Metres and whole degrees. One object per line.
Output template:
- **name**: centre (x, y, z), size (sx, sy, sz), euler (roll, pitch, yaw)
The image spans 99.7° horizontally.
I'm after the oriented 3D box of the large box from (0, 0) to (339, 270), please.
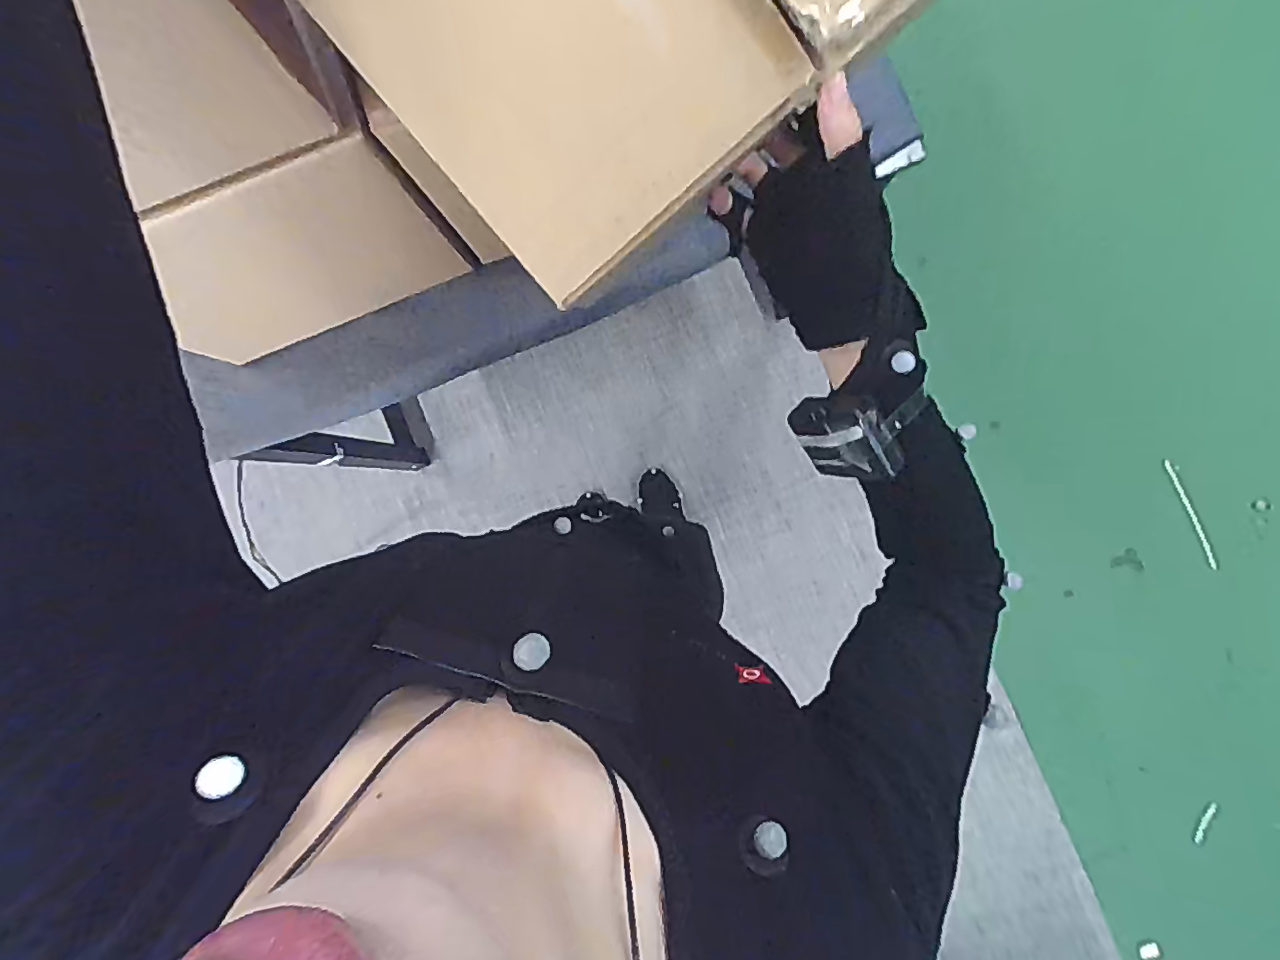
- **large box**: centre (-0.516, -0.403, 0.364), size (0.408, 0.320, 0.320), euler (-21, 86, 3)
